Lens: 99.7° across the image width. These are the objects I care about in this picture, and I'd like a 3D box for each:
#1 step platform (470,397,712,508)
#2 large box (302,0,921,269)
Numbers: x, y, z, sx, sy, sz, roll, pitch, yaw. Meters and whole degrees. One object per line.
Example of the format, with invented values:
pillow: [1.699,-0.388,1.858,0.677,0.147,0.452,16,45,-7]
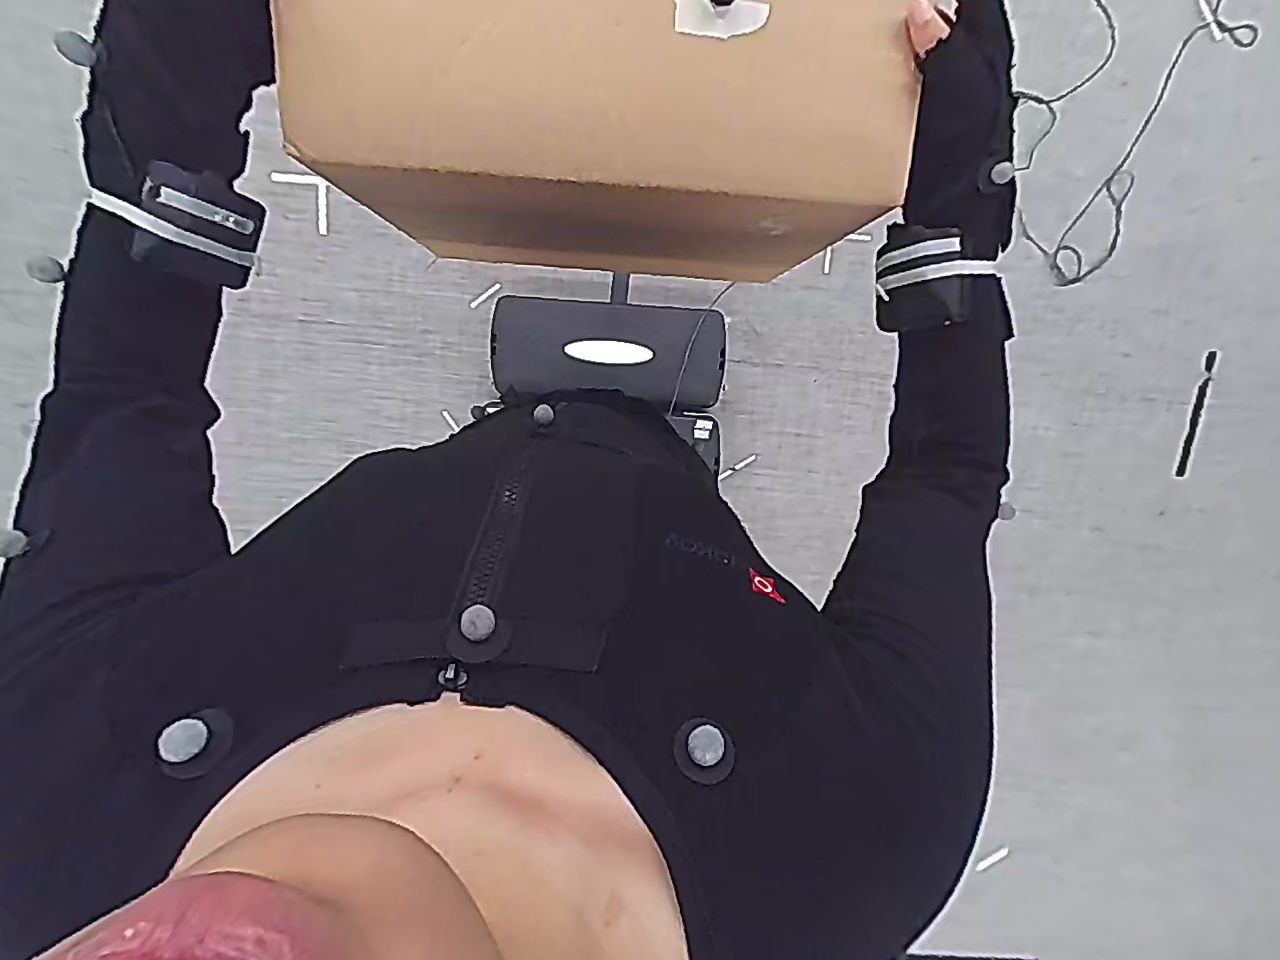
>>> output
step platform: [-0.134,-0.079,1.563,0.684,0.204,0.286,3,98,-1]
large box: [-0.021,-0.385,0.483,0.408,0.320,0.320,2,102,-4]
